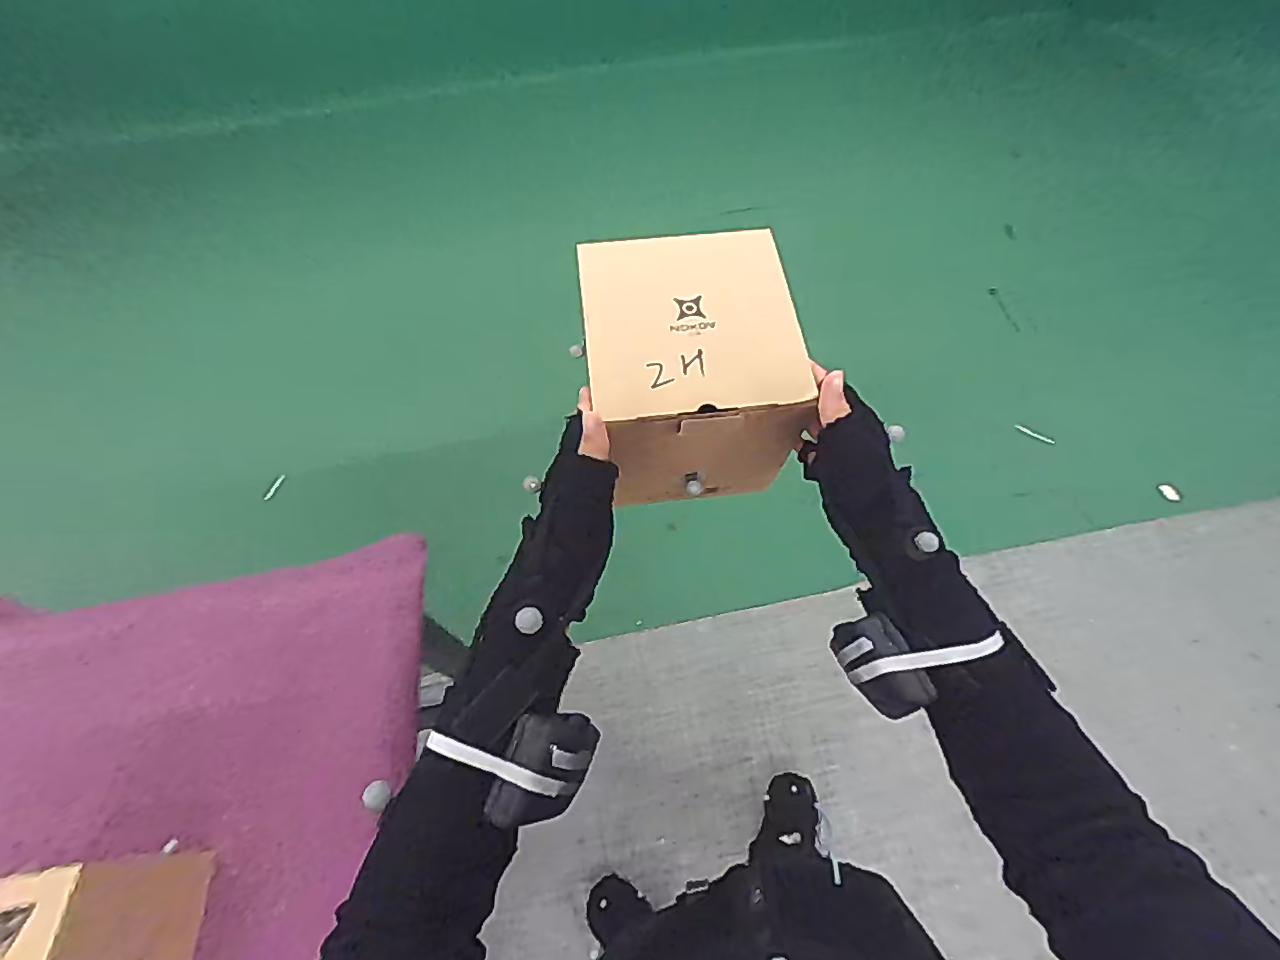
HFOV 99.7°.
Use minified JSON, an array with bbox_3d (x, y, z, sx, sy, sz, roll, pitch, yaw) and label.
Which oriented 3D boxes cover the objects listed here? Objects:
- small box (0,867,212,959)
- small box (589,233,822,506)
[{"bbox_3d":[-0.539,0.459,0.483,0.168,0.176,0.179,-6,58,2],"label":"small box"},{"bbox_3d":[0.044,-0.092,0.494,0.168,0.176,0.179,-6,66,-2],"label":"small box"}]
